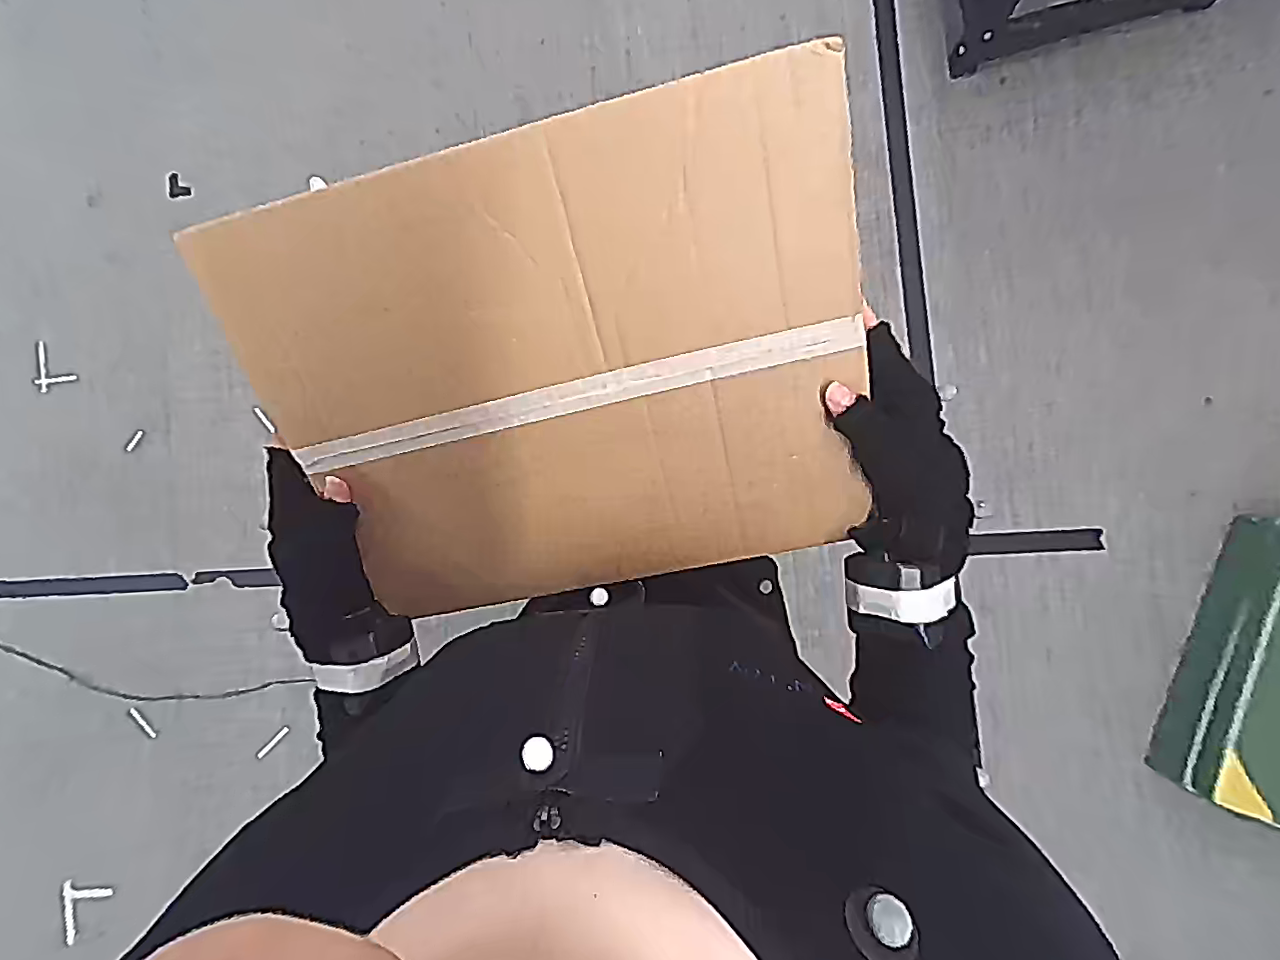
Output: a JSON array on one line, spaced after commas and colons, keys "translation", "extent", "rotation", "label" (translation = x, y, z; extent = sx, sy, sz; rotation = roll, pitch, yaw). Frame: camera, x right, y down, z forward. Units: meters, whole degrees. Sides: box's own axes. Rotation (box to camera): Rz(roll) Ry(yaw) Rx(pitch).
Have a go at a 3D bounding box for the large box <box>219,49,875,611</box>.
[{"translation": [-0.043, -0.123, 0.514], "extent": [0.408, 0.320, 0.320], "rotation": [-11, 115, 7], "label": "large box"}]
